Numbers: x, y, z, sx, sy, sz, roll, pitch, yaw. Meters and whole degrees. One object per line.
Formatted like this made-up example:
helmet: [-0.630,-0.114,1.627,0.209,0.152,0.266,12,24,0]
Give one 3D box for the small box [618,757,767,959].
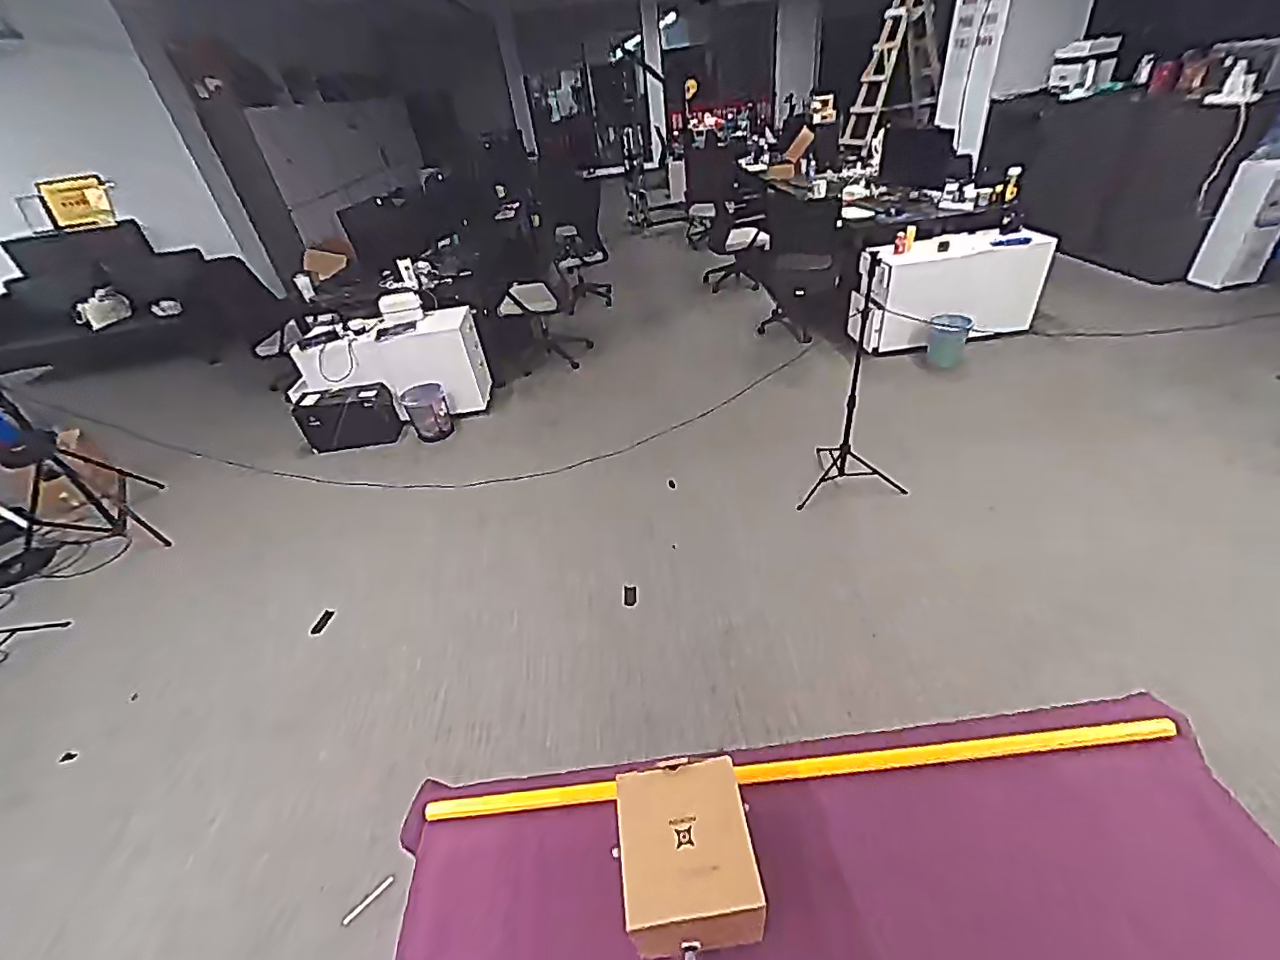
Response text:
small box: [0.066,0.513,0.733,0.168,0.176,0.179,-10,37,-1]
